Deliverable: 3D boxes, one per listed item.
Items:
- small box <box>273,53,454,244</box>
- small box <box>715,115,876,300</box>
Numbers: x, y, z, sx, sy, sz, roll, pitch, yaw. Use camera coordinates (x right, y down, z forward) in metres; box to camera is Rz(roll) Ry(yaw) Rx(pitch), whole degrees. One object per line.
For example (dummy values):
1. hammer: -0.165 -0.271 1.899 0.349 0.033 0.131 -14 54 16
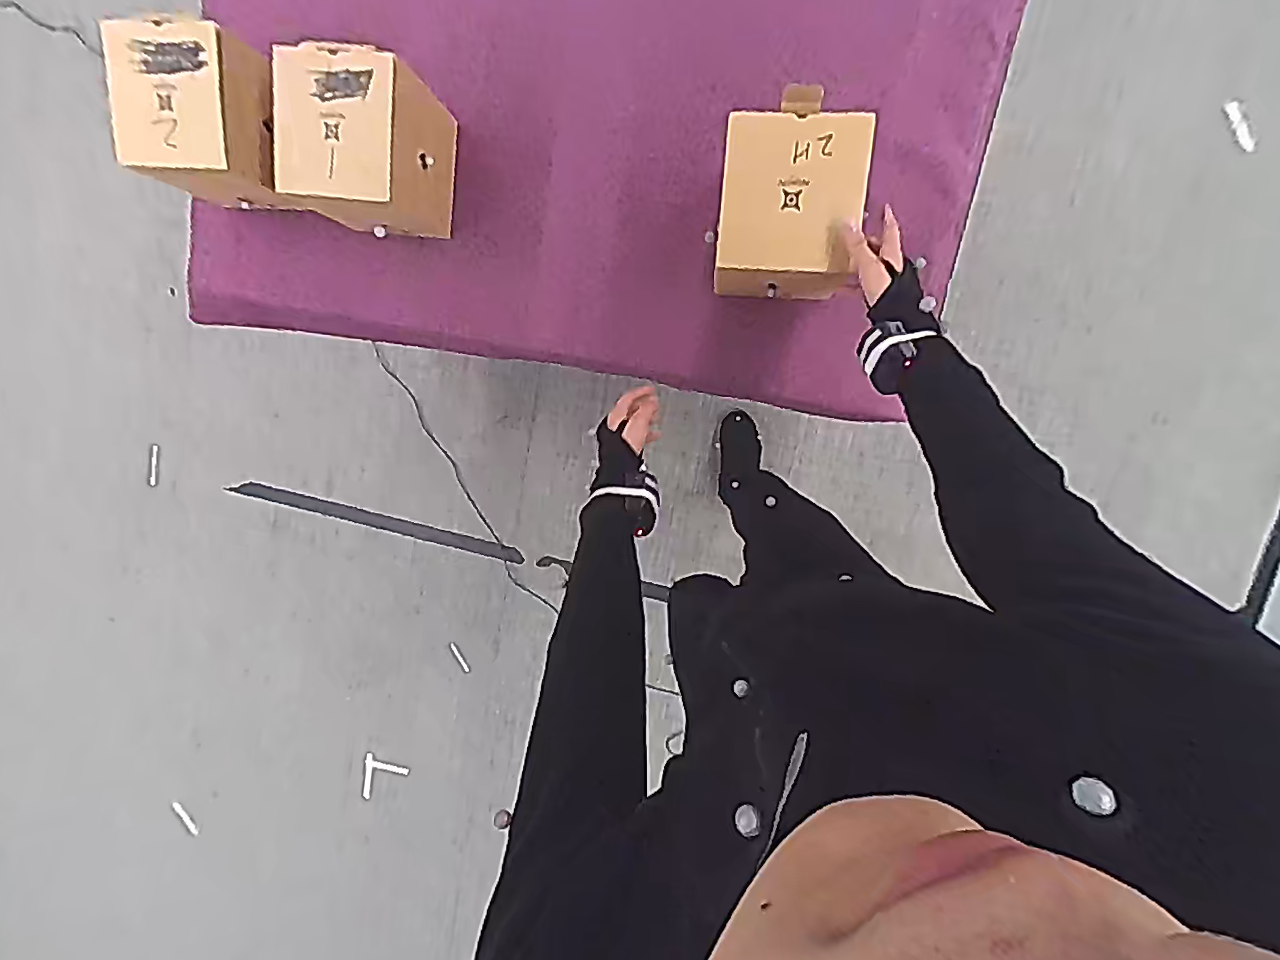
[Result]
1. small box: -0.378 -0.453 0.764 0.168 0.176 0.179 8 100 7
2. small box: 0.189 -0.338 0.703 0.168 0.176 0.179 5 98 7
